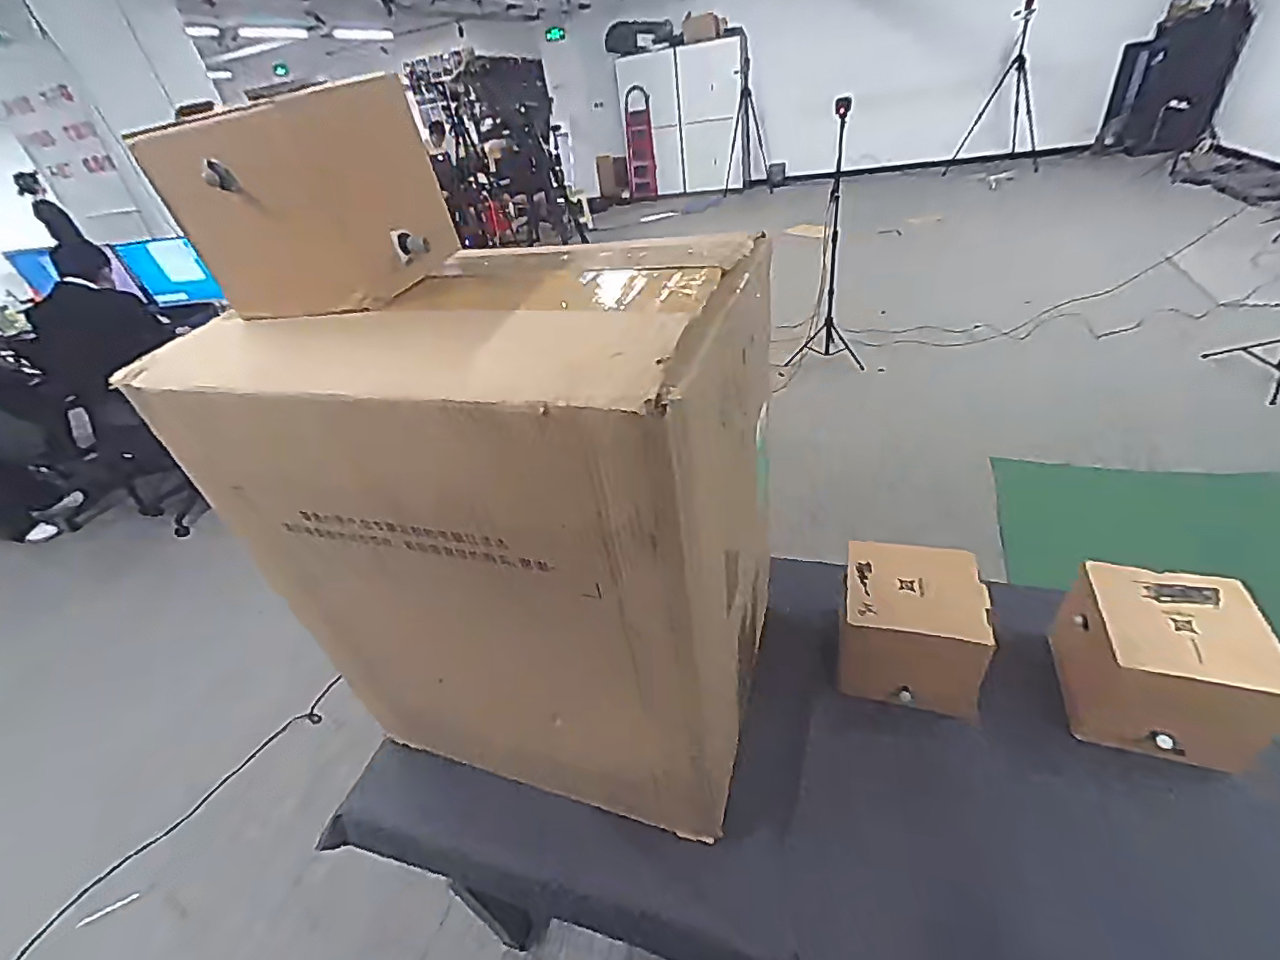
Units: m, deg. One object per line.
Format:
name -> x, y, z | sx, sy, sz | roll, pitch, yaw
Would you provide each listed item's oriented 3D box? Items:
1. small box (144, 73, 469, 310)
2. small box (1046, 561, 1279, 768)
small box -> -0.305, -0.279, 0.536 | 0.179, 0.176, 0.168 | 3, 43, 15
small box -> 0.670, 0.238, 0.716 | 0.168, 0.176, 0.179 | 6, 39, 21
